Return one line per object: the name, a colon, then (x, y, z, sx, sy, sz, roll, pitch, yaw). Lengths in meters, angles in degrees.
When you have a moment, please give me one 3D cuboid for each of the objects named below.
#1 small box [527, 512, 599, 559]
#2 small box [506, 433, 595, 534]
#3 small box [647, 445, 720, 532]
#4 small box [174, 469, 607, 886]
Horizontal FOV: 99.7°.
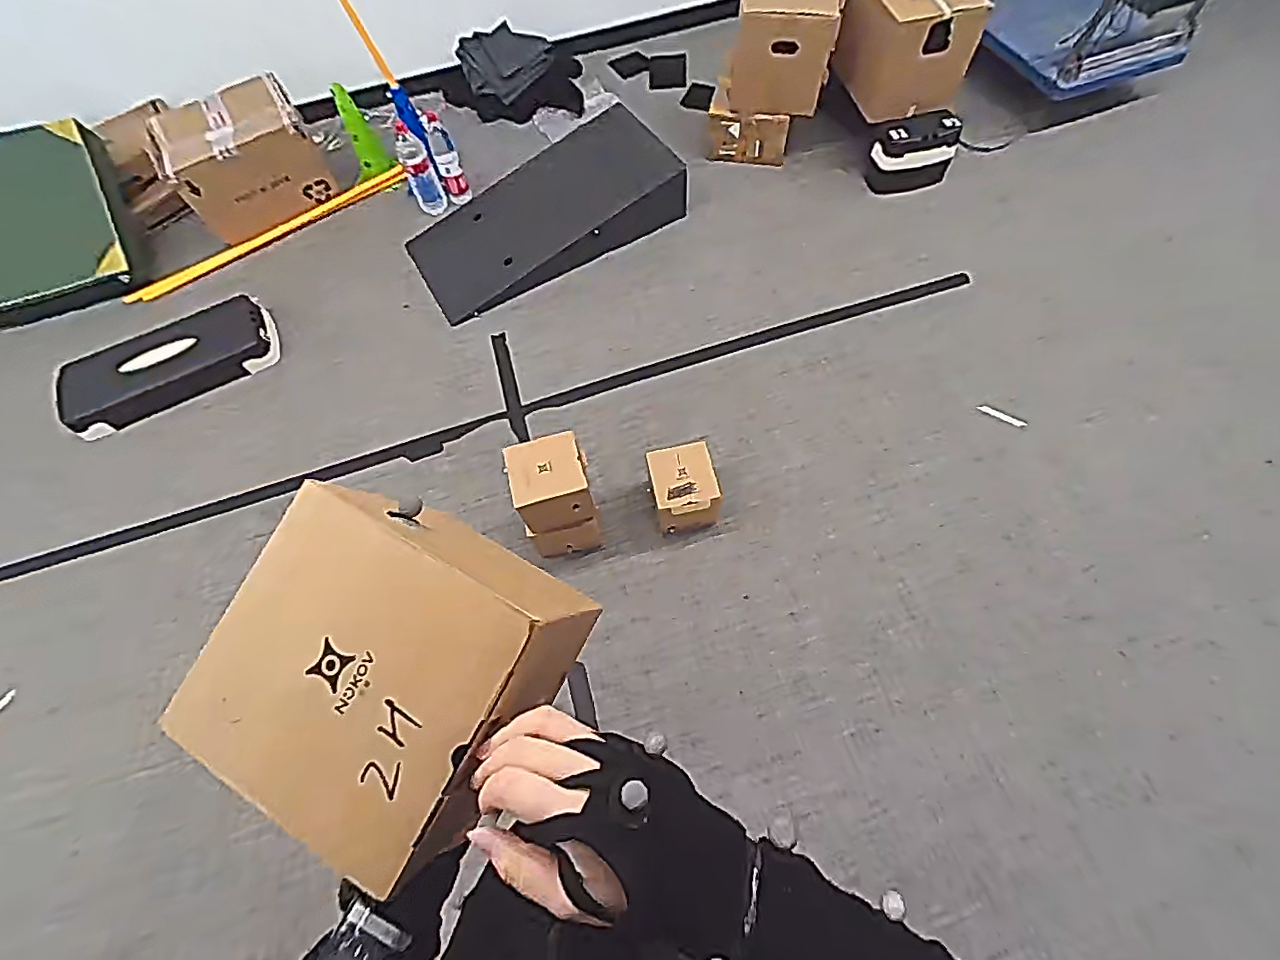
small box: (-0.208, 0.100, 1.461, 0.179, 0.176, 0.168, -11, 63, -3)
small box: (-0.211, 0.014, 1.321, 0.179, 0.176, 0.168, -16, 63, -3)
small box: (0.117, 0.031, 1.475, 0.168, 0.176, 0.179, -11, 63, -2)
small box: (-0.147, 0.116, 0.380, 0.179, 0.176, 0.168, 28, 85, 12)
